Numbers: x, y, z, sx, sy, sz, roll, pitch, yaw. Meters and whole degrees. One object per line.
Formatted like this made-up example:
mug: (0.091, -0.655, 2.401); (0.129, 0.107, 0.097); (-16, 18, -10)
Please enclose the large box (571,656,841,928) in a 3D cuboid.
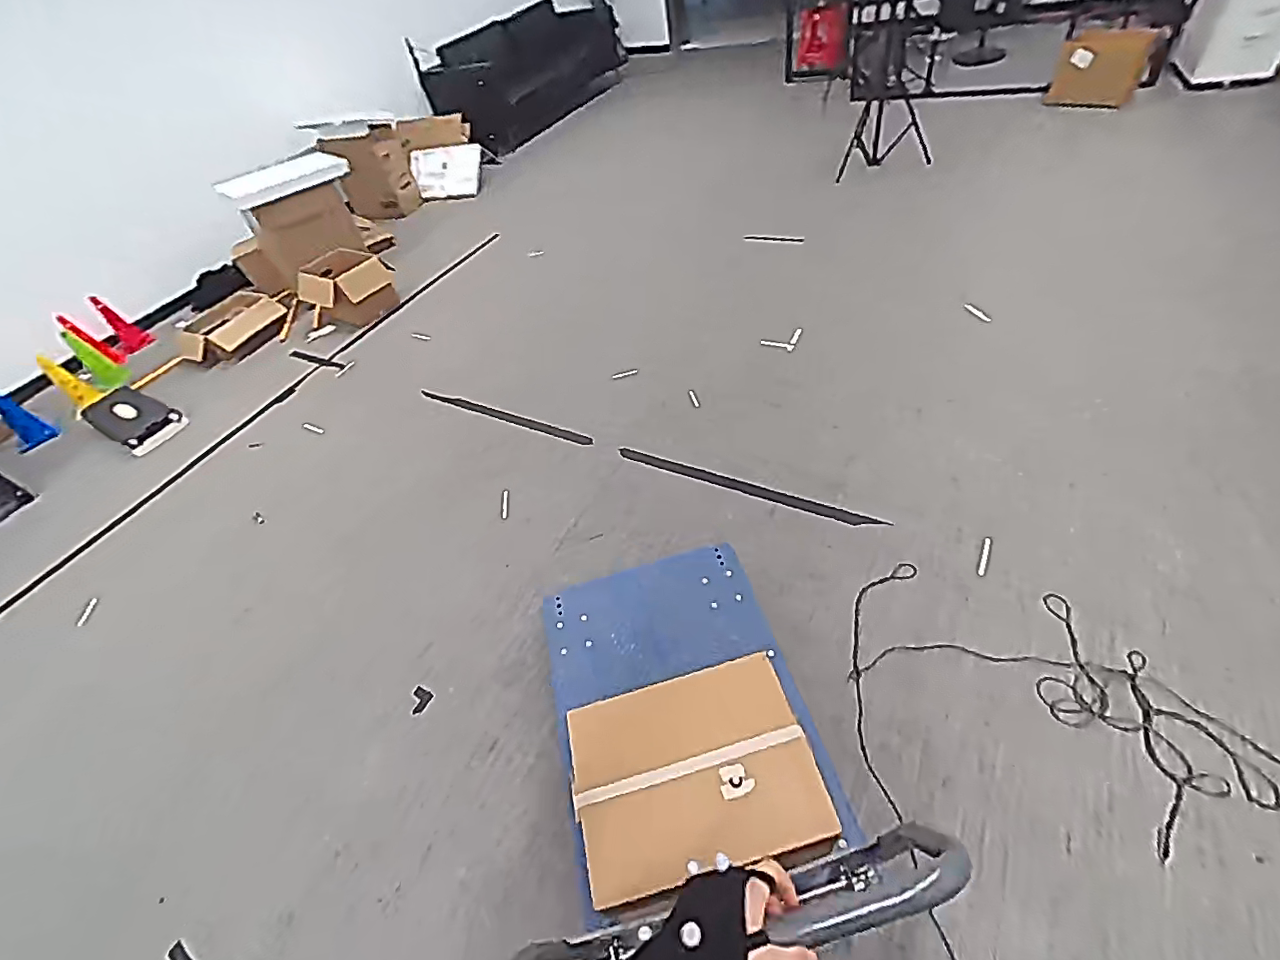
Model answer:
large box: (0.114, 0.602, 1.042); (0.408, 0.320, 0.320); (-16, 47, -3)
